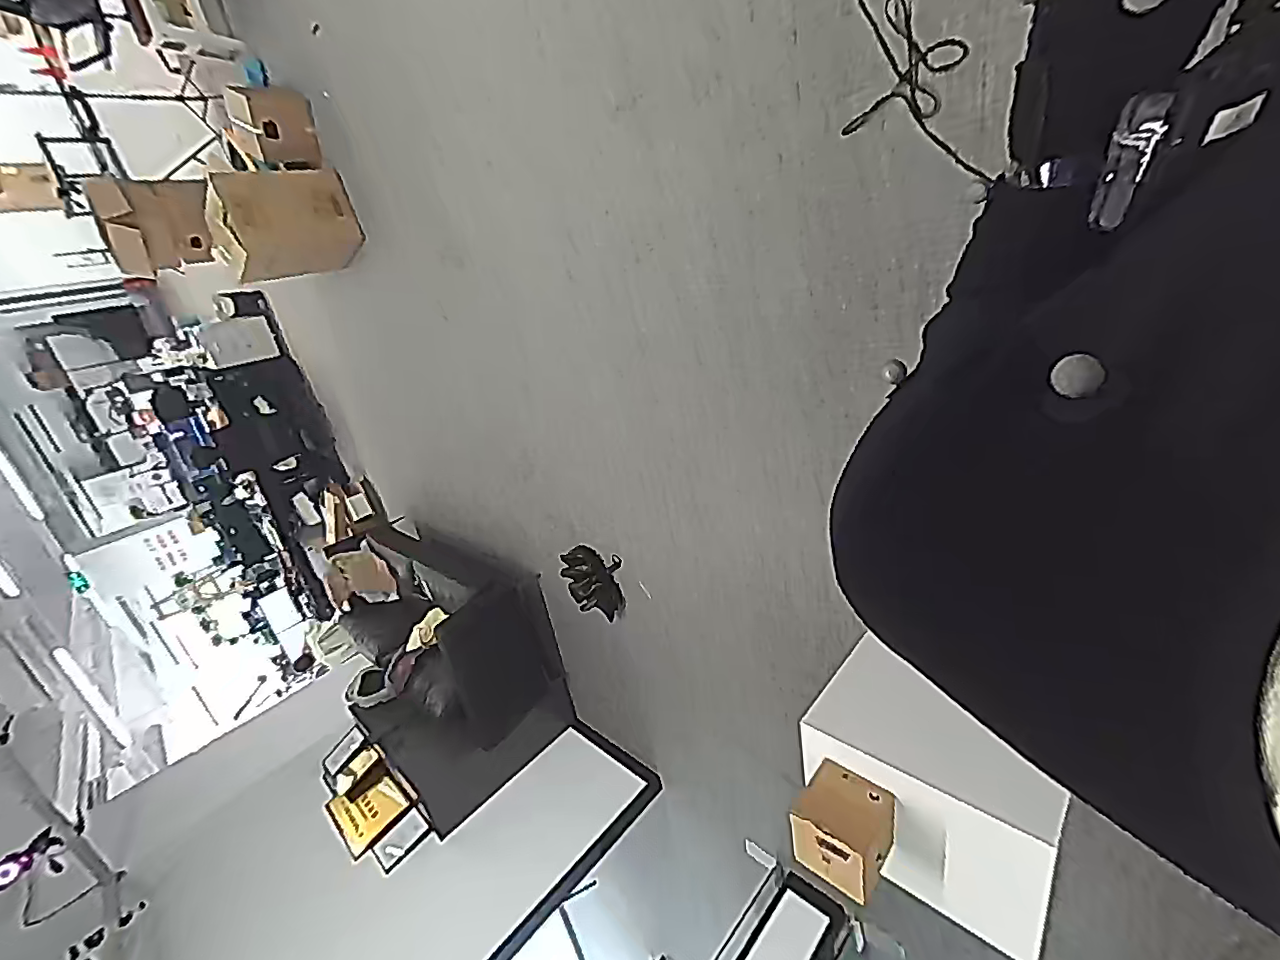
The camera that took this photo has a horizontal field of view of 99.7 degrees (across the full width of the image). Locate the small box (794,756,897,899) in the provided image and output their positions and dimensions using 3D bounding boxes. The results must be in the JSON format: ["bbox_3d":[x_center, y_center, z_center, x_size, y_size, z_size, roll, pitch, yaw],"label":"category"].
[{"bbox_3d":[0.466,0.772,1.222,0.168,0.176,0.179,13,123,43],"label":"small box"}]
